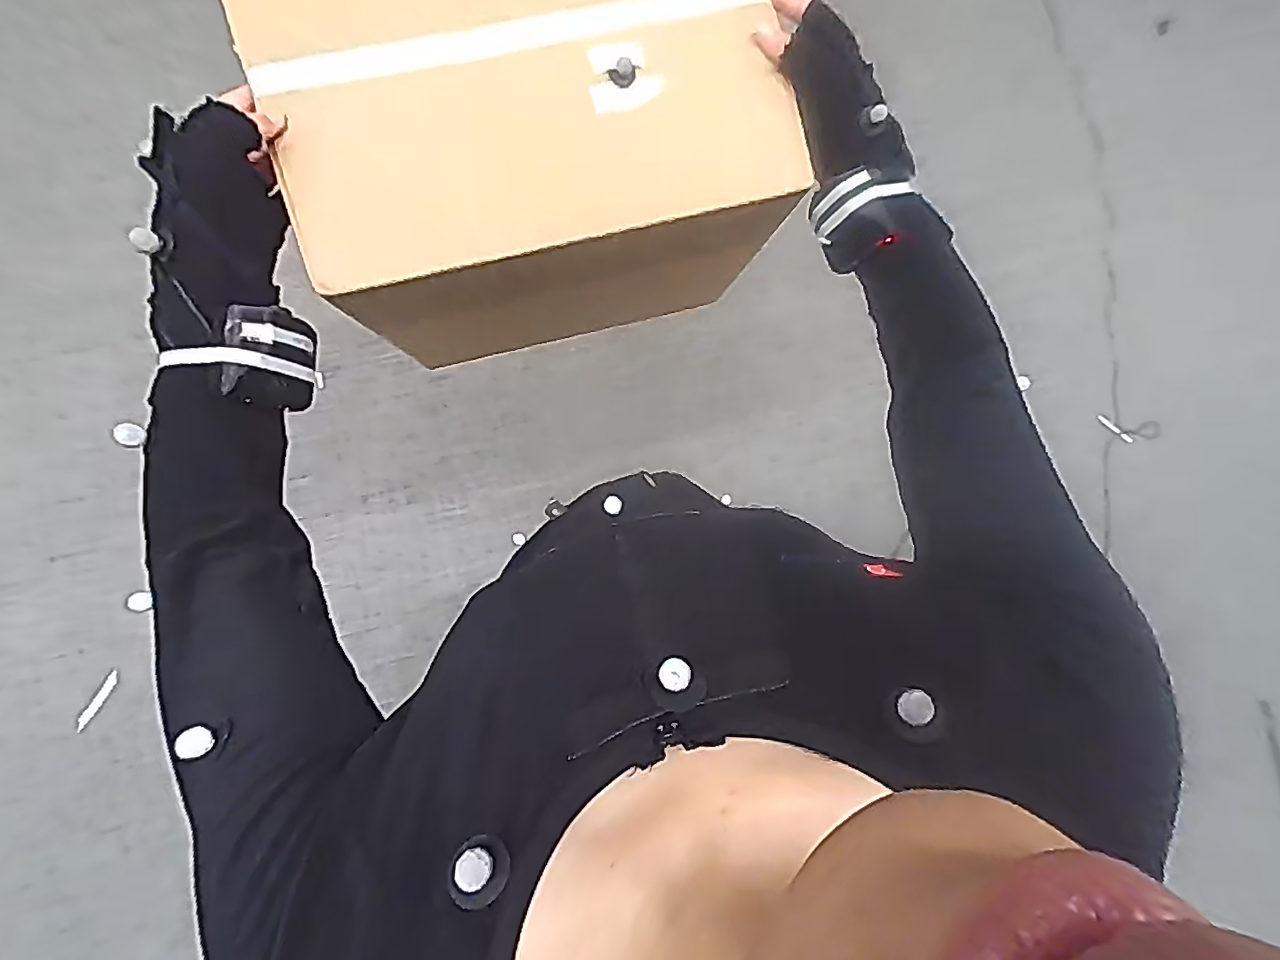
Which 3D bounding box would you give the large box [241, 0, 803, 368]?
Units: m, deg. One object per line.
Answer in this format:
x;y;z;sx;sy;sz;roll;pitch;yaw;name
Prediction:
-0.109;-0.344;0.579;0.408;0.320;0.320;-16;93;-7;large box
